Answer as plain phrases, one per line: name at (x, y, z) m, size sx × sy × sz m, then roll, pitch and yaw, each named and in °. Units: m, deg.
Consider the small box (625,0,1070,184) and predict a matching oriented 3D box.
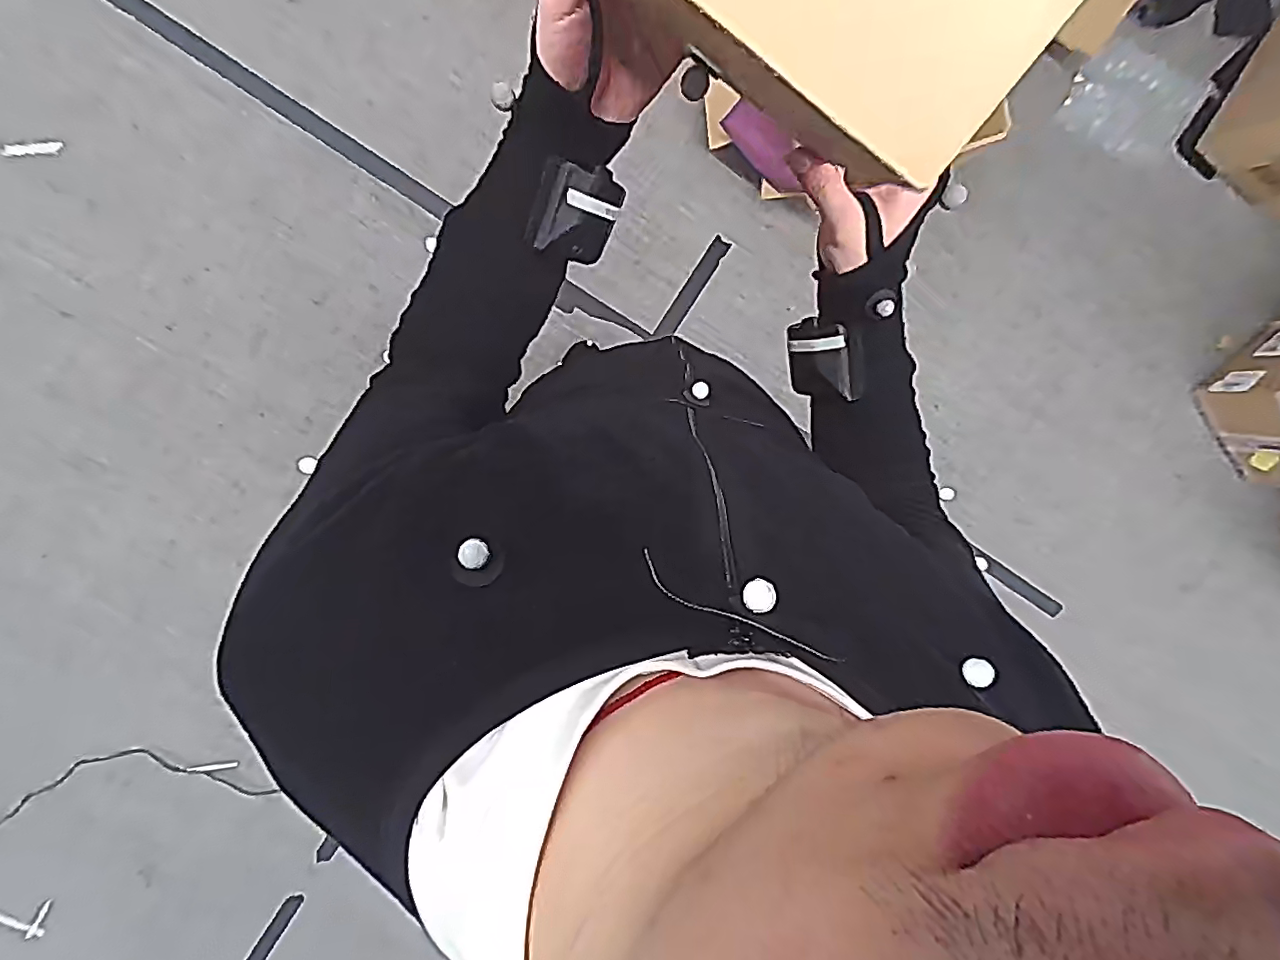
small box at (0.091, -0.261, 0.226) m, size 0.168 × 0.176 × 0.179 m, roll 26°, pitch 121°, yaw -14°
